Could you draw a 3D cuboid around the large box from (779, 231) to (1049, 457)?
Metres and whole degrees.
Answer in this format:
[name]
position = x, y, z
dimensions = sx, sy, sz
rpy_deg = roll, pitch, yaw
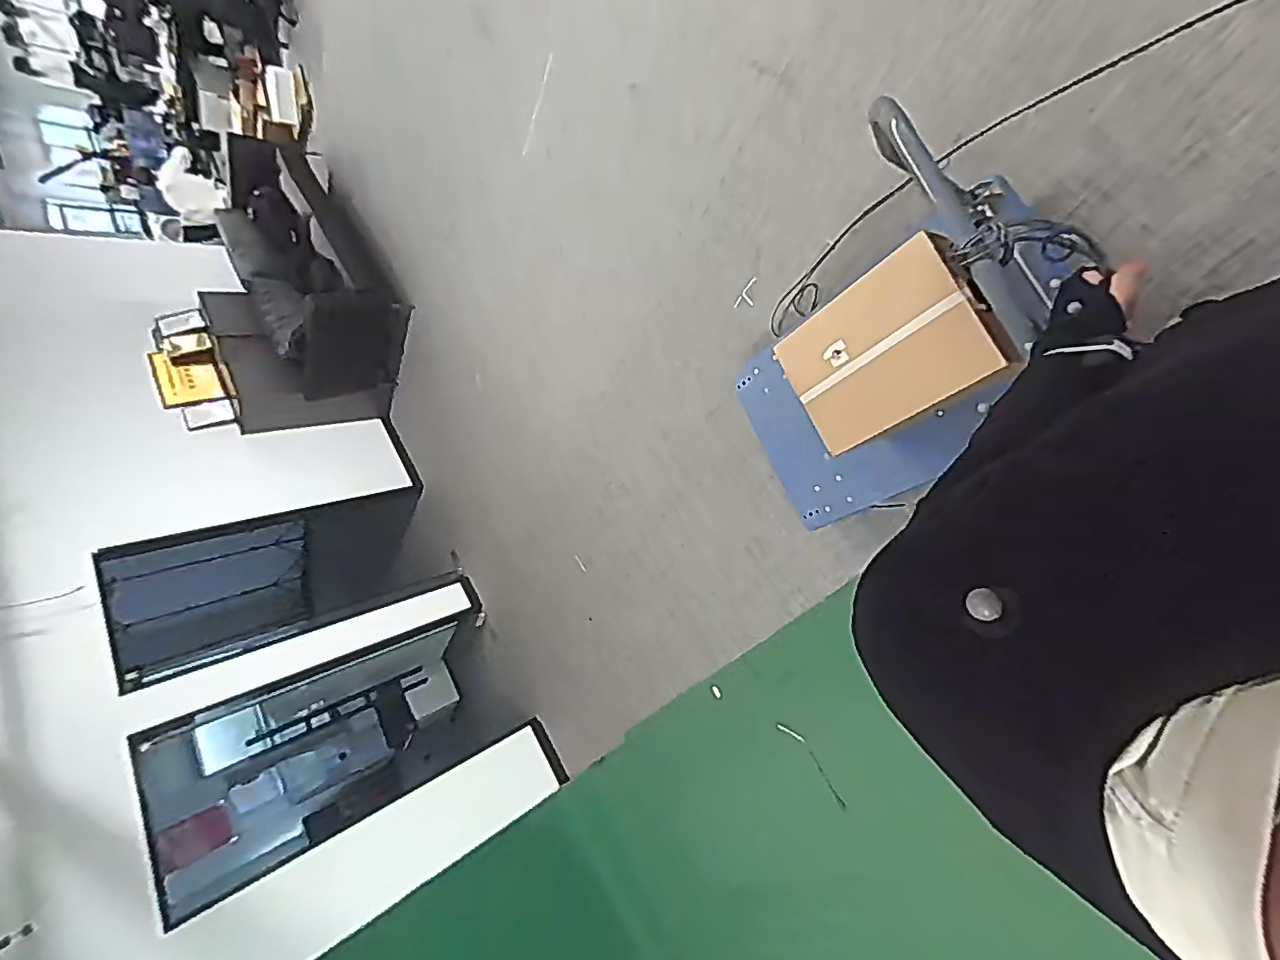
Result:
[large box]
position = 0.619, -0.301, 1.253
dimensions = 0.408, 0.320, 0.320
rpy_deg = -36, 74, 48
